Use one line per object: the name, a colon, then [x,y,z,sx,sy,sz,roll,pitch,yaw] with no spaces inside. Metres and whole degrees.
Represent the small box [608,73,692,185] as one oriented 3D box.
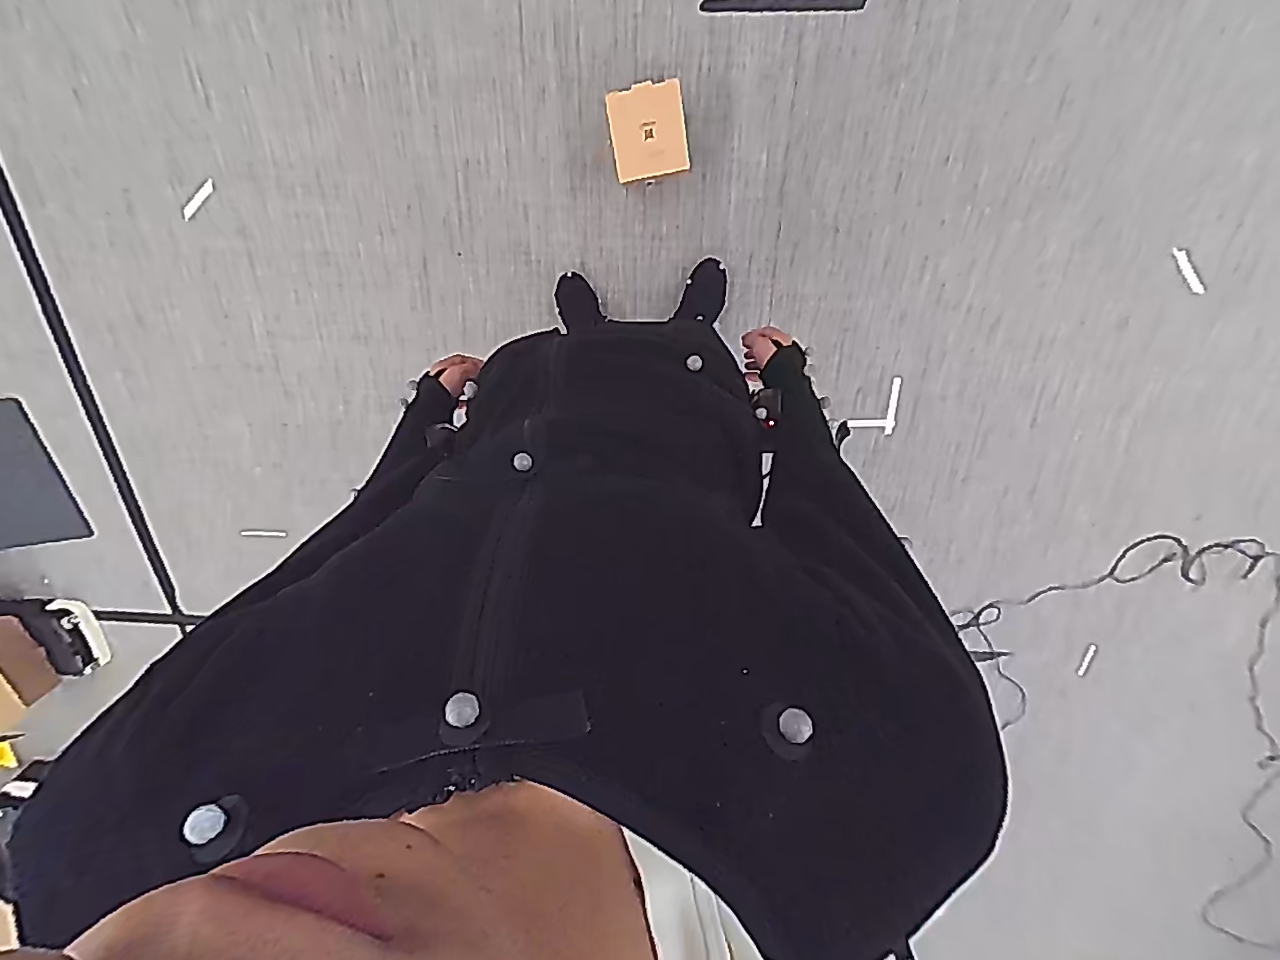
small box: [0.025,-0.800,1.251,0.168,0.176,0.179,-8,114,6]
